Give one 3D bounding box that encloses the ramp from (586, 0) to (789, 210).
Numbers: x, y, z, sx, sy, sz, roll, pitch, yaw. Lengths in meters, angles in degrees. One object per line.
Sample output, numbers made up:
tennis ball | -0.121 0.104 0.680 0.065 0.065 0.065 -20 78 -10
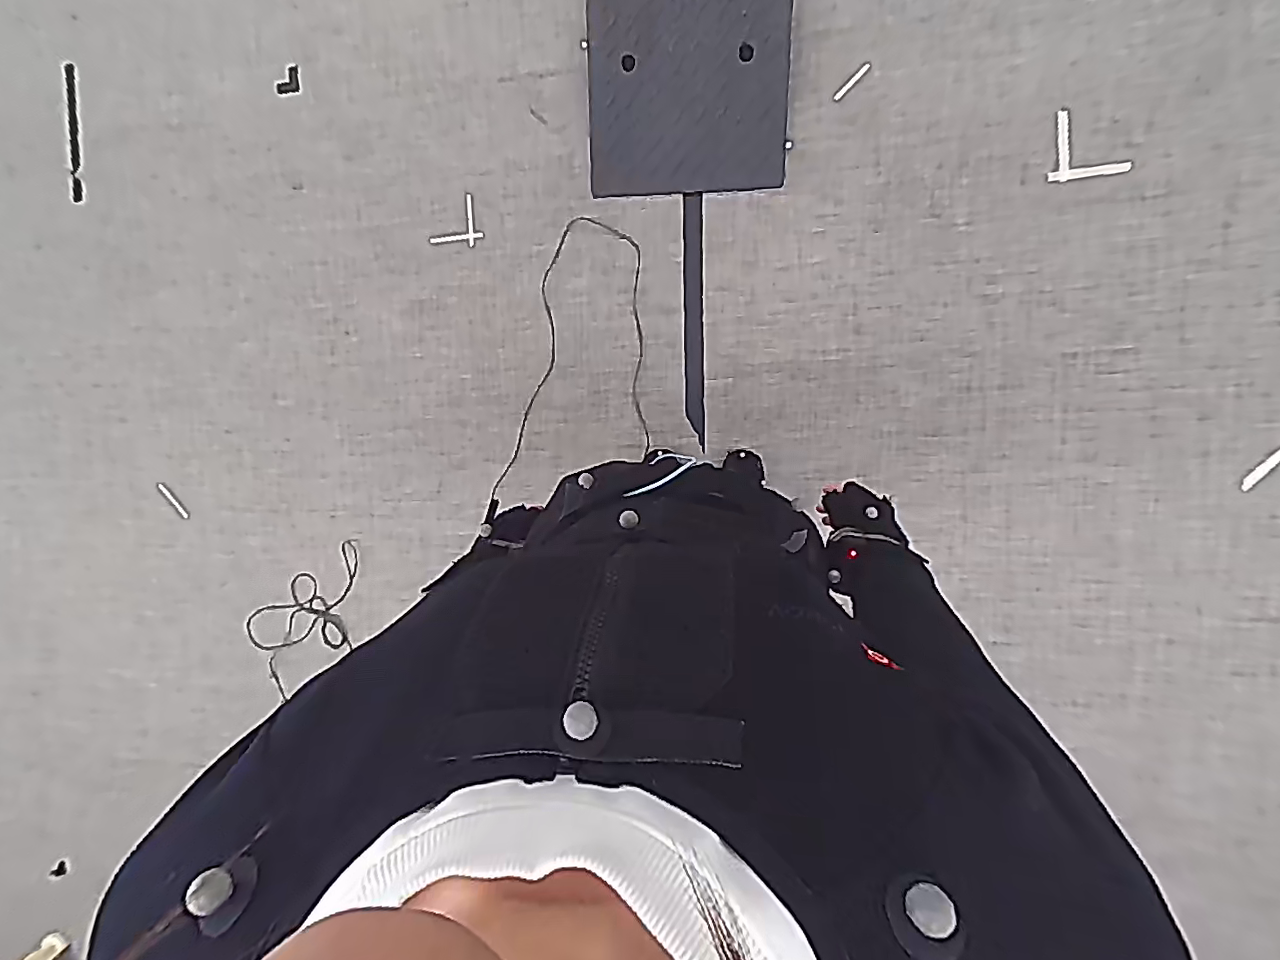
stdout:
ramp | 0.109 -1.206 1.296 0.509 0.206 0.991 -2 93 8
